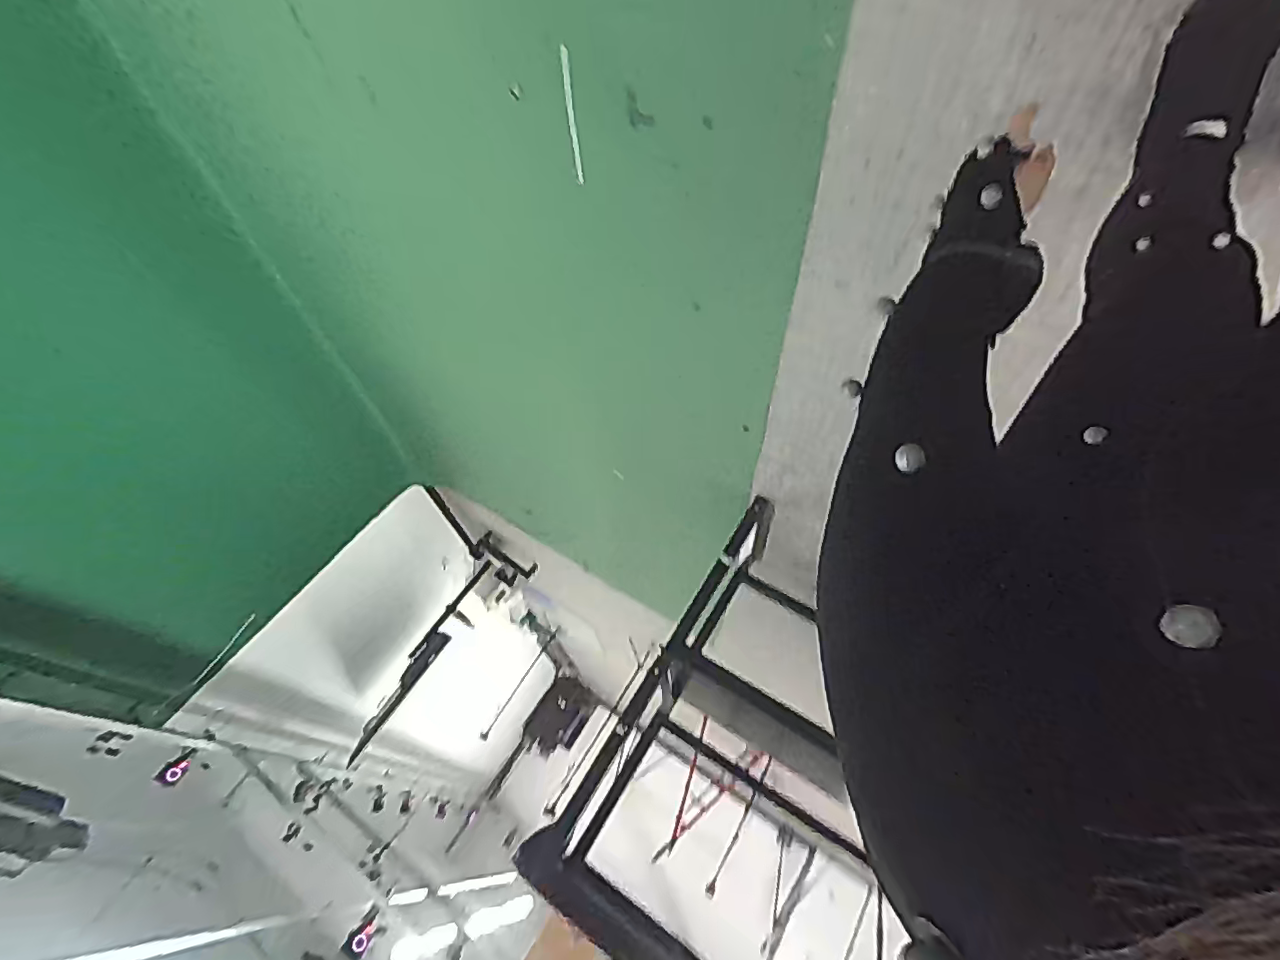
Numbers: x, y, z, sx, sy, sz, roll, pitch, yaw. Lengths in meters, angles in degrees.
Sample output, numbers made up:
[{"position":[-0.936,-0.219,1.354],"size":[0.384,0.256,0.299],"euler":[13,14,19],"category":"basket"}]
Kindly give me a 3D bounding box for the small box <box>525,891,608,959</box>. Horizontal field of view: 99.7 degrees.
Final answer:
[{"position":[-0.202,1.324,1.550],"size":[0.168,0.176,0.179],"euler":[29,152,17],"category":"small box"}]
